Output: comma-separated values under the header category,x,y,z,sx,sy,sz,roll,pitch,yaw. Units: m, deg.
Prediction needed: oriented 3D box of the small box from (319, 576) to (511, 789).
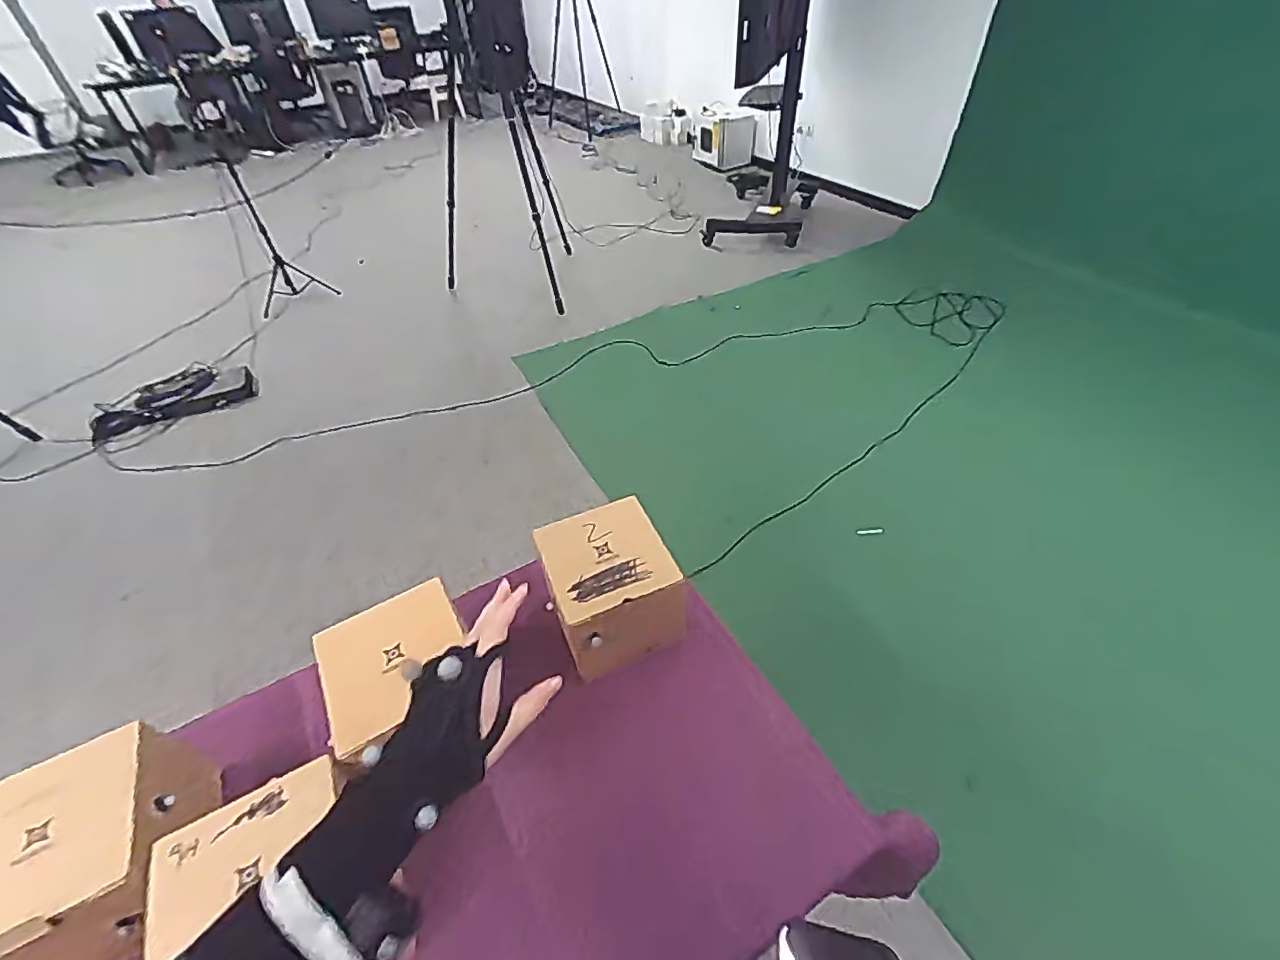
category,x,y,z,sx,sy,sz,roll,pitch,yaw
small box,-0.292,0.269,0.720,0.168,0.176,0.179,-26,51,-20

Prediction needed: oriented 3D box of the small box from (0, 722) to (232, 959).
category,x,y,z,sx,sy,sz,roll,pitch,yaw
small box,-0.587,0.413,0.599,0.168,0.176,0.179,-24,49,-20
